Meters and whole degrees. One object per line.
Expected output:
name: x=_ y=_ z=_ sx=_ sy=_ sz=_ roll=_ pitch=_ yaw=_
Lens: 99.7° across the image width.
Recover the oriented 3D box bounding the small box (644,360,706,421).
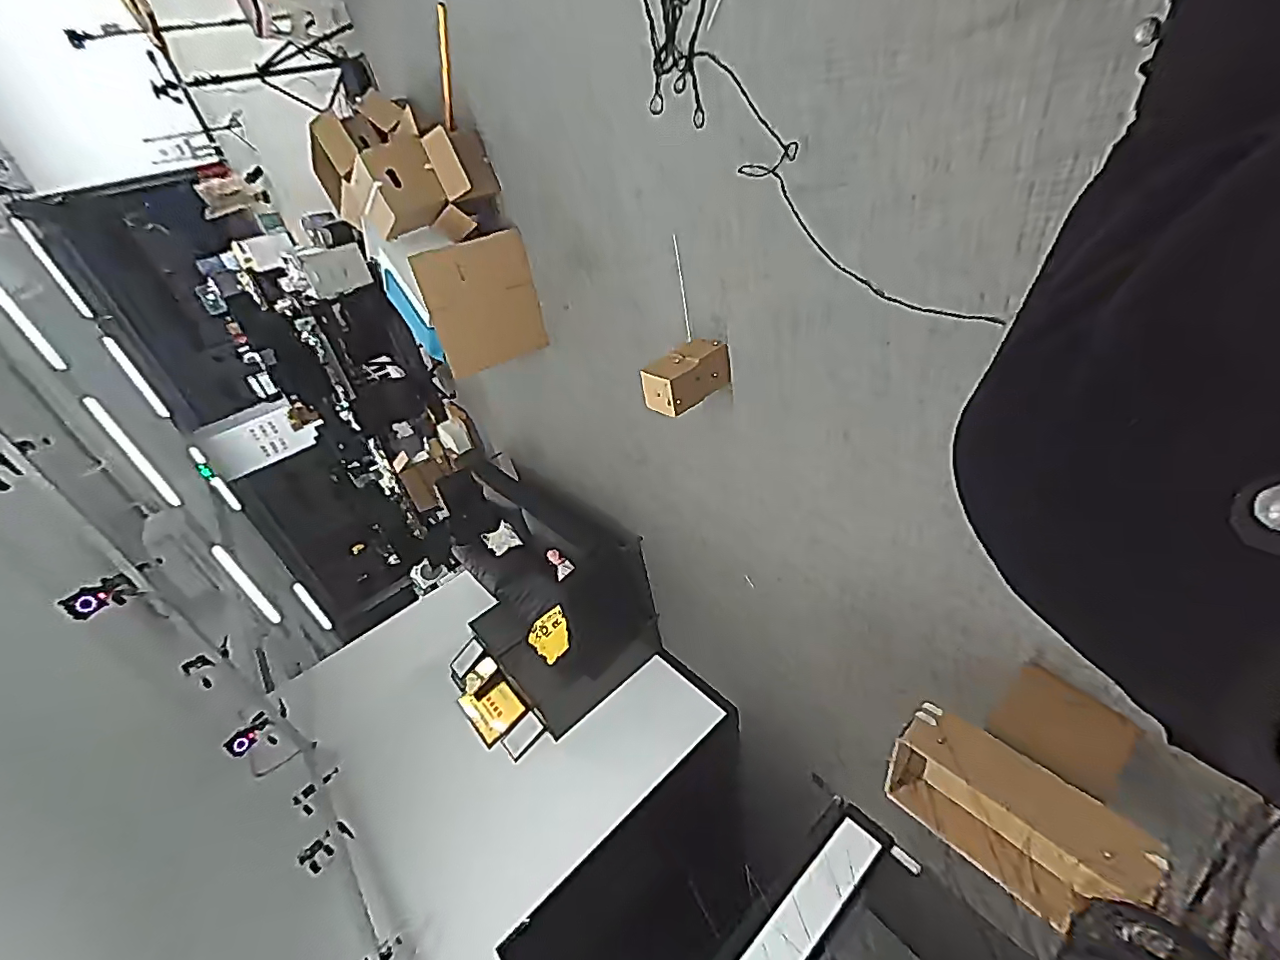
small box: x=0.142 y=-0.365 z=2.162 sx=0.179 sy=0.176 sz=0.168 roll=30 pitch=143 yaw=44

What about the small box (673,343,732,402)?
small box: x=0.263 y=-0.450 z=2.233 sx=0.168 sy=0.176 sz=0.179 roll=28 pitch=142 yaw=44
